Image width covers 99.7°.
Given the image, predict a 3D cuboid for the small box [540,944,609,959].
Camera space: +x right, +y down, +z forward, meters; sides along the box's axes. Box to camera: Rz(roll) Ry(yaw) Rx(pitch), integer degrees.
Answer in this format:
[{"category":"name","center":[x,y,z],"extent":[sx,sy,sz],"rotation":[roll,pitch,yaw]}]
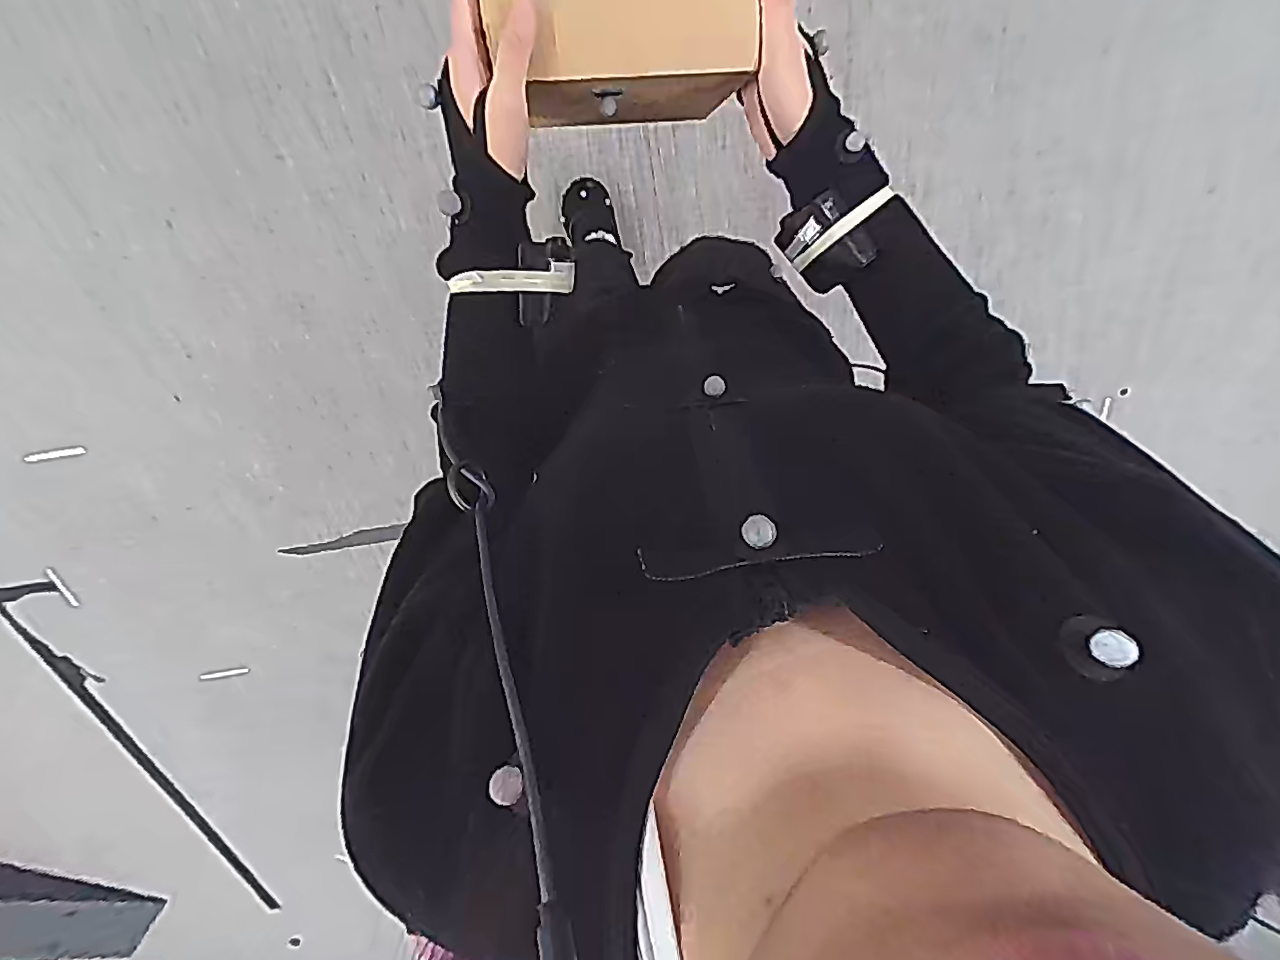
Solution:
[{"category":"small box","center":[-0.157,1.244,1.276],"extent":[0.179,0.176,0.168],"rotation":[-9,118,-2]}]

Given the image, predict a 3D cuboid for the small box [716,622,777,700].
[{"category":"small box","center":[0.358,0.611,1.834],"extent":[0.168,0.176,0.179],"rotation":[-8,118,-2]}]

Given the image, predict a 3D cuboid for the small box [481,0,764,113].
[{"category":"small box","center":[-0.020,-0.374,0.381],"extent":[0.179,0.176,0.168],"rotation":[-6,115,-5]}]
